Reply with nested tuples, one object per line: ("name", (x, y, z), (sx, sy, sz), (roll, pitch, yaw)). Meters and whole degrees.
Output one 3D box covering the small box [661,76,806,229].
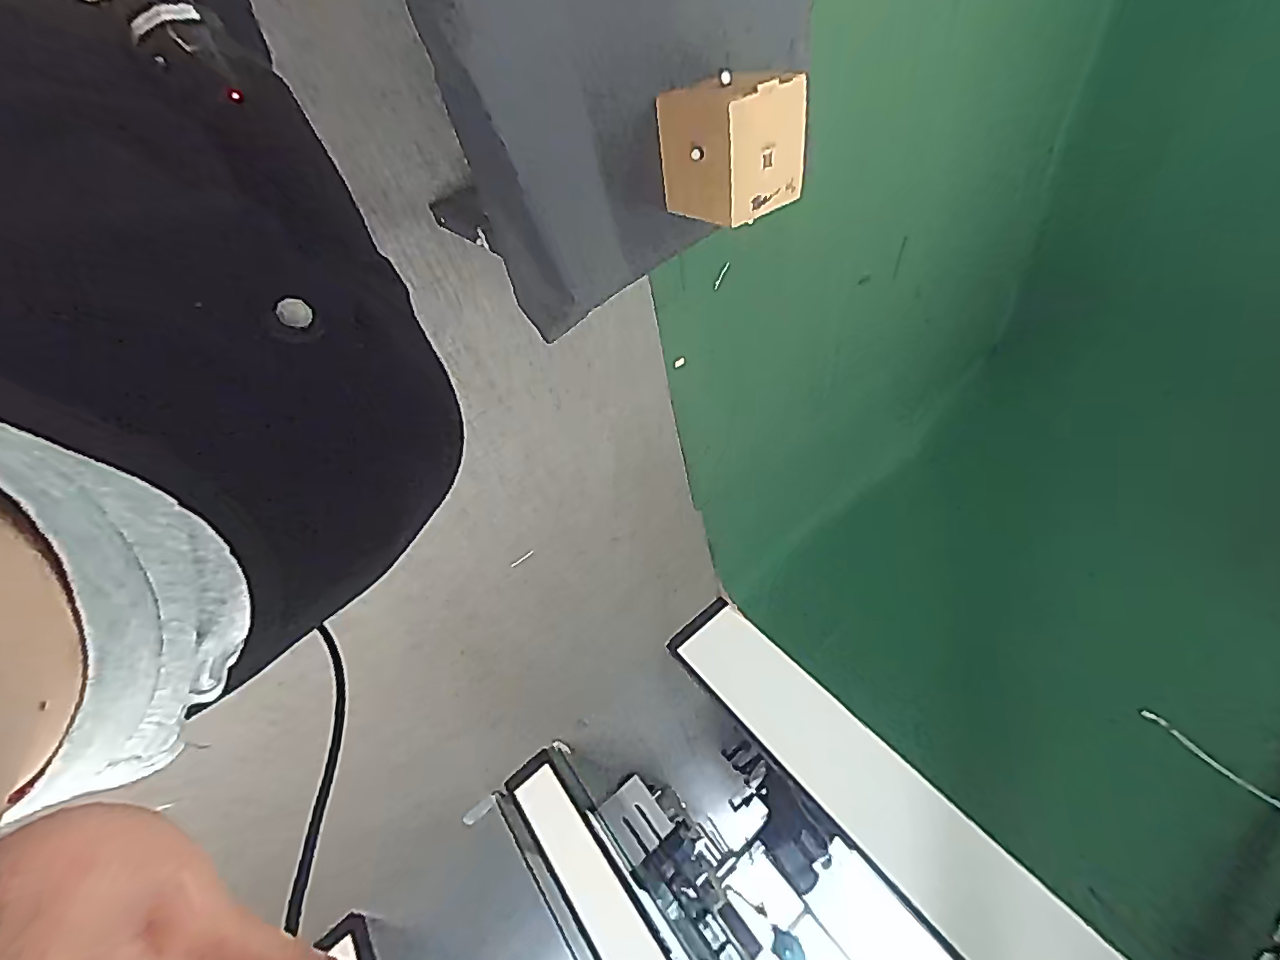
("small box", (0.150, -0.540, 0.889), (0.168, 0.176, 0.179), (-32, 136, -21))
